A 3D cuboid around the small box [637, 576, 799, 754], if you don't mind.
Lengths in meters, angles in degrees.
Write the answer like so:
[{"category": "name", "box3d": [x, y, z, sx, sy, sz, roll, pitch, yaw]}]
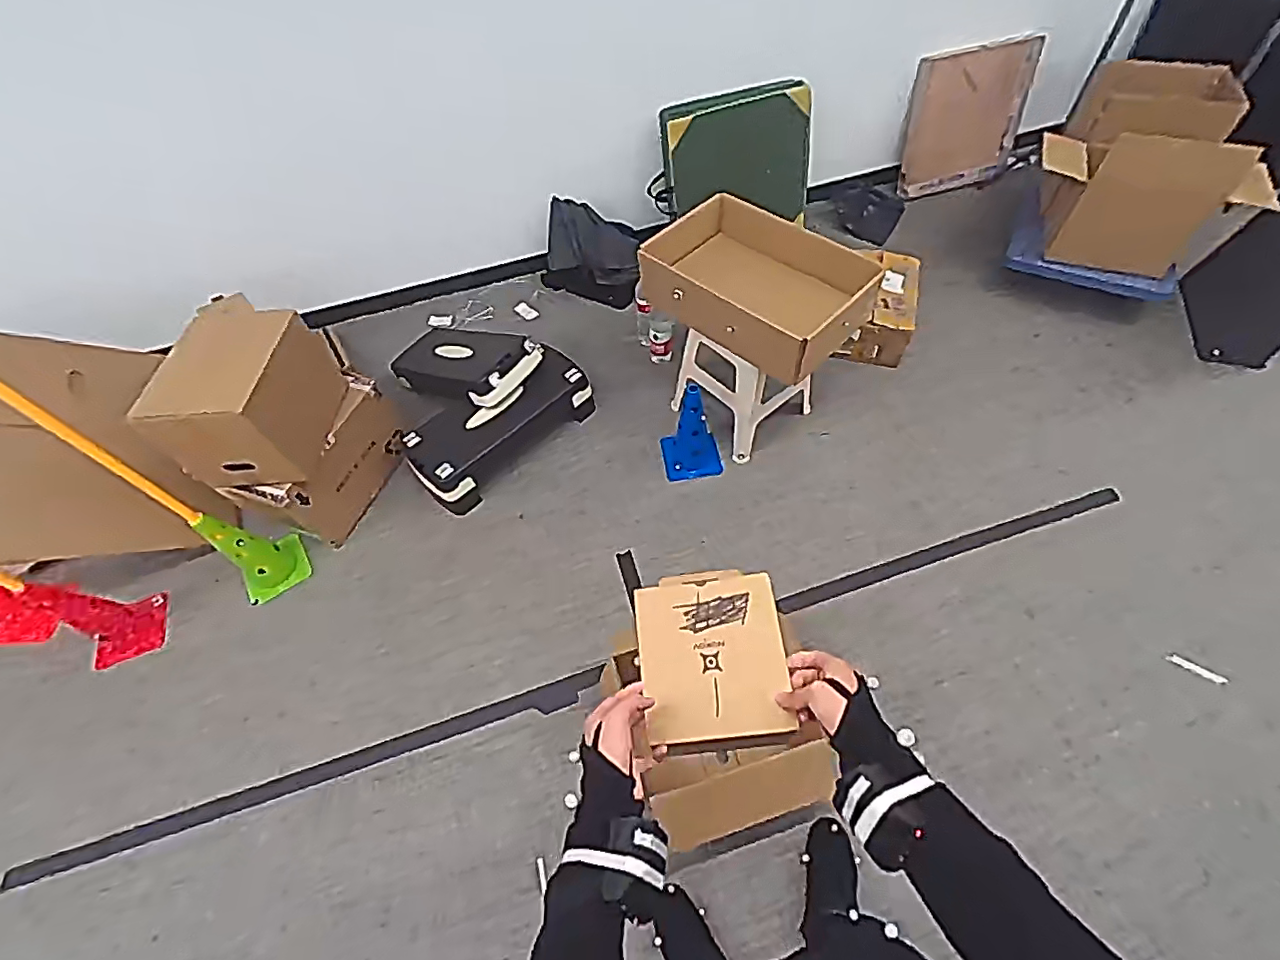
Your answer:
[{"category": "small box", "box3d": [0.095, 0.242, 0.691, 0.168, 0.176, 0.179, -10, 60, 6]}]
